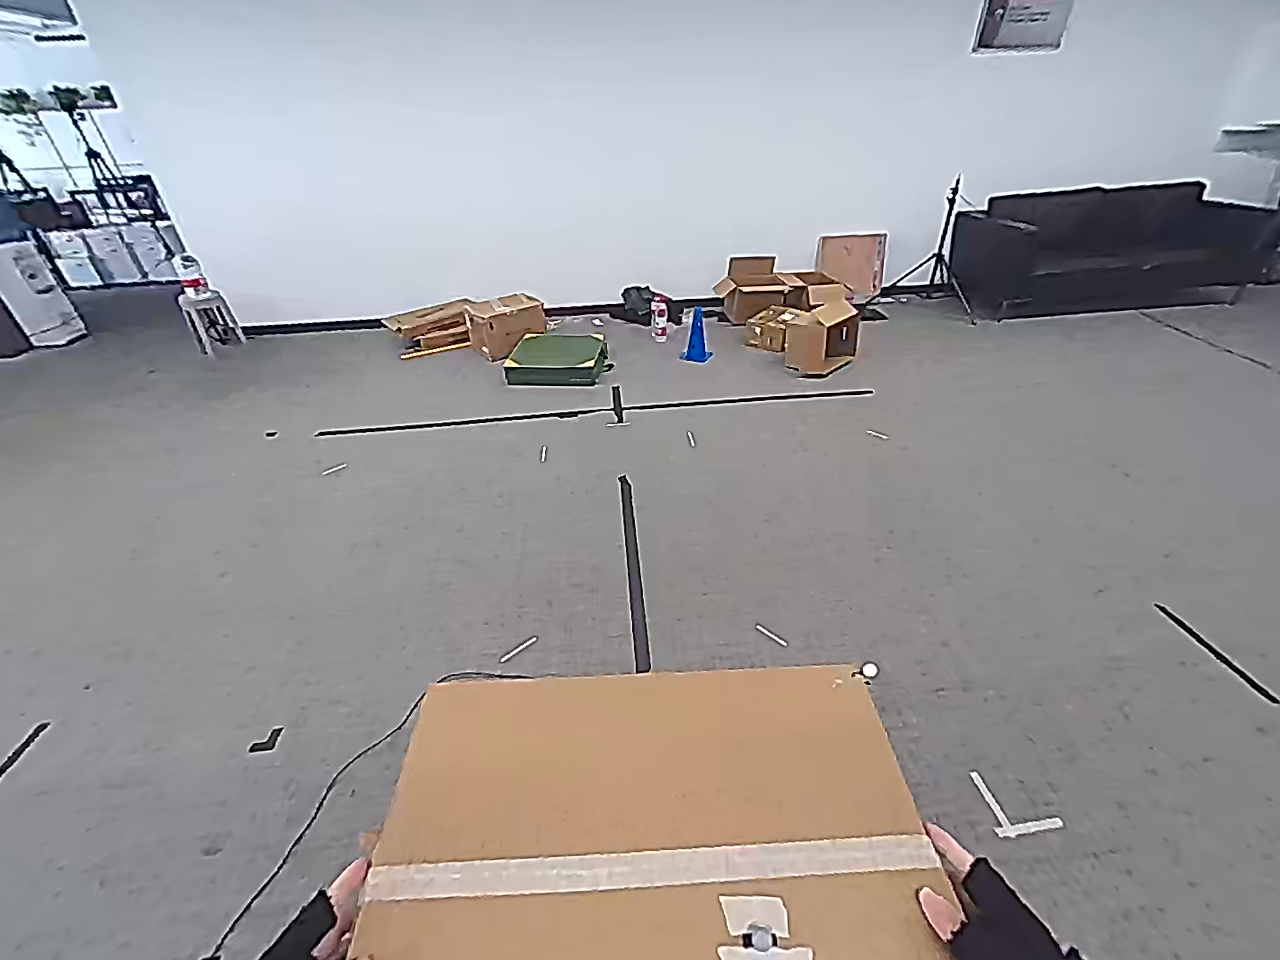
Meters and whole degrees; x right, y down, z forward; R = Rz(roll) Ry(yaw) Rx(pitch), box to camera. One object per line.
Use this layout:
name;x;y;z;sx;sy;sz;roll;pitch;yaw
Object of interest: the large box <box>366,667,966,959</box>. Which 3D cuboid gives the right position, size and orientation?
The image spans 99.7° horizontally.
large box;0.014;0.401;0.489;0.408;0.320;0.320;-2;38;-2
